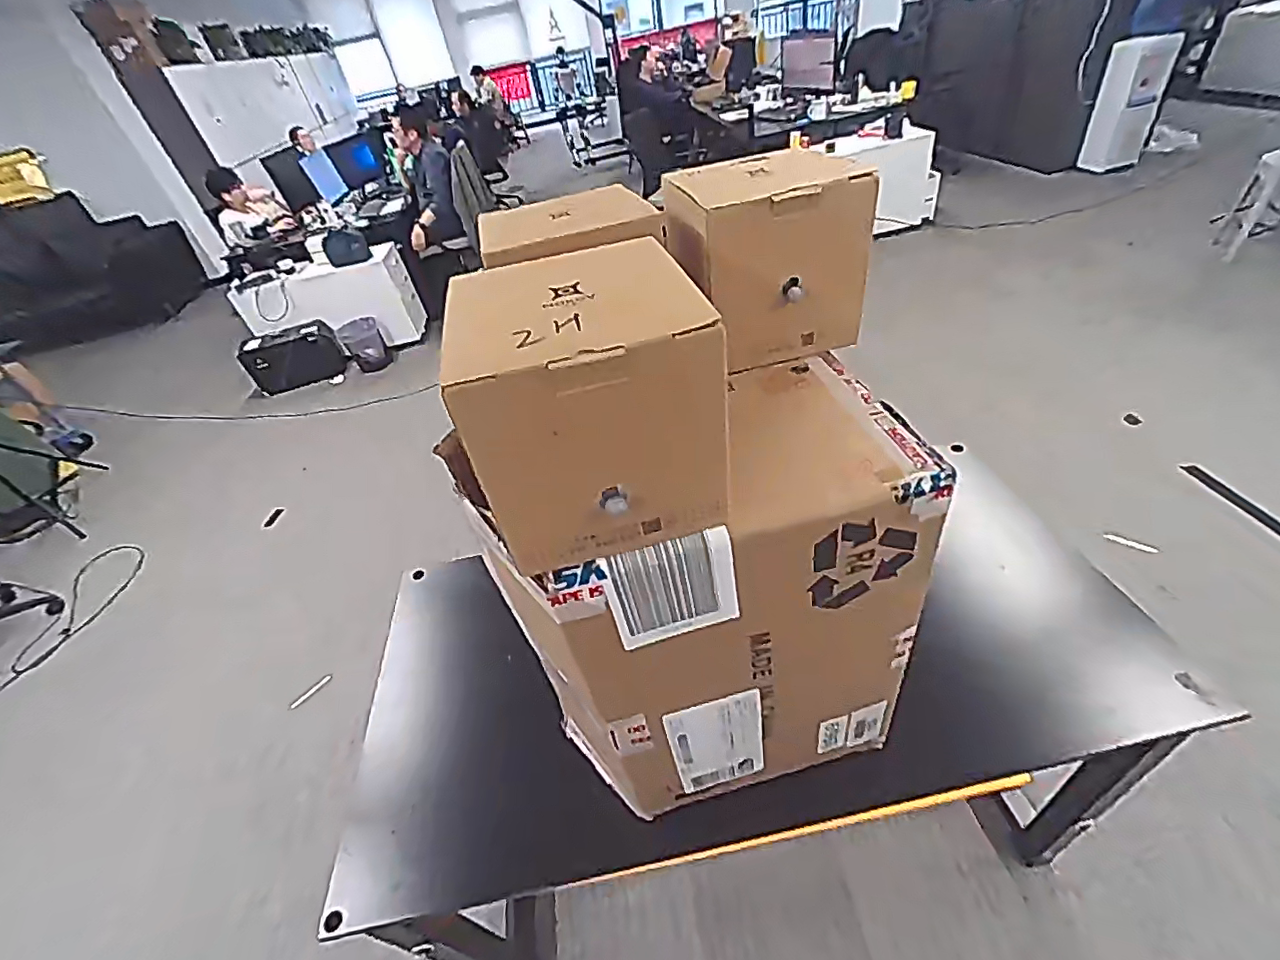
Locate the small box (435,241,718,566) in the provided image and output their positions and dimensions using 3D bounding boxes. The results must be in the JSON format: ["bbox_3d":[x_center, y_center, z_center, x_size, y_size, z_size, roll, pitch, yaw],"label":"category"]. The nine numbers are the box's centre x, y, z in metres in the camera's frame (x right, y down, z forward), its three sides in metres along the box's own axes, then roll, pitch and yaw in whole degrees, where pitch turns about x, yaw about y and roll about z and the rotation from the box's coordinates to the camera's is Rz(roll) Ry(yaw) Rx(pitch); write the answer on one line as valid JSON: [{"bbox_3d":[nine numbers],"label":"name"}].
[{"bbox_3d":[-0.044,-0.063,0.423,0.168,0.176,0.179,-14,42,-5],"label":"small box"}]

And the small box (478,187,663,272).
[{"bbox_3d":[-0.070,-0.202,0.597,0.168,0.176,0.179,-17,40,-6],"label":"small box"}]

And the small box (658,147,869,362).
[{"bbox_3d":[0.125,-0.243,0.596,0.168,0.176,0.179,-13,41,-4],"label":"small box"}]
